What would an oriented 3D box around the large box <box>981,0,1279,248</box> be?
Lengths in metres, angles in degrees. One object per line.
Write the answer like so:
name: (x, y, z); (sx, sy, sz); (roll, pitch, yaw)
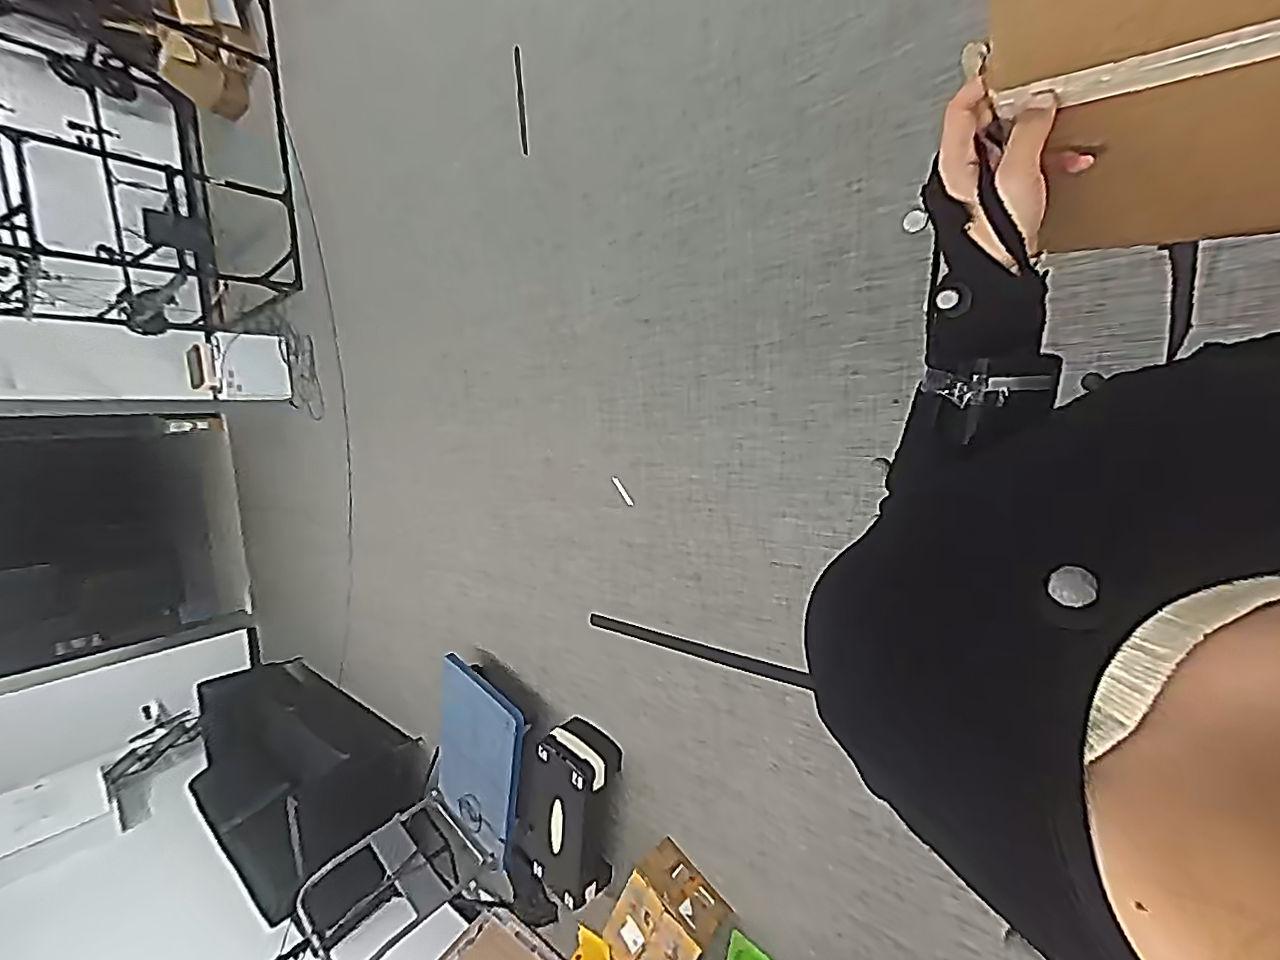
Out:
large box: (0.409, -0.351, 0.225); (0.408, 0.320, 0.320); (11, 81, 41)
